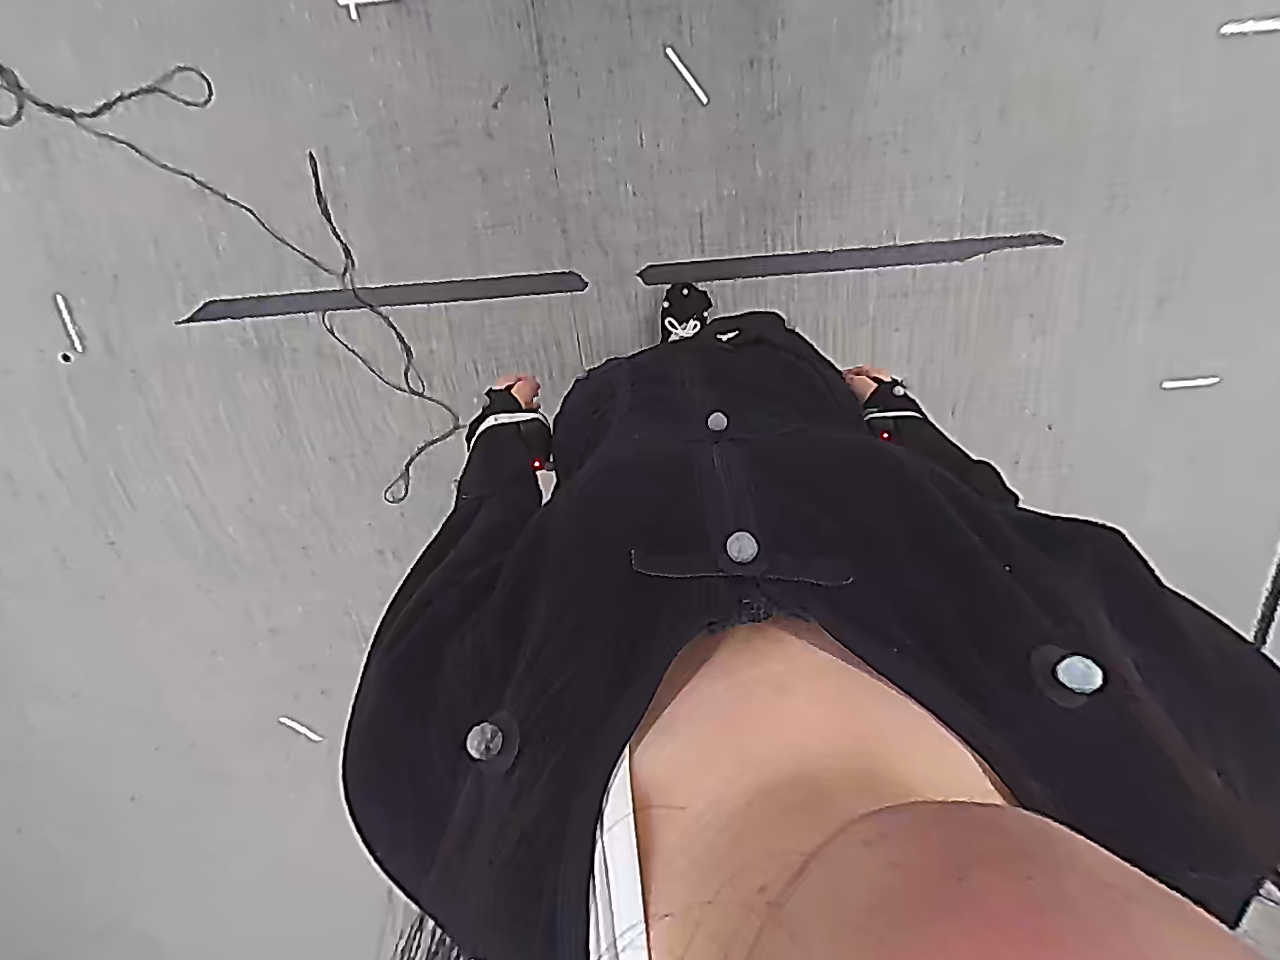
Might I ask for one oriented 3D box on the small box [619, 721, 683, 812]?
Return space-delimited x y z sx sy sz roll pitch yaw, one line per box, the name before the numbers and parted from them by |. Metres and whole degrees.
small box | 0.034 0.903 1.711 0.168 0.176 0.179 -14 108 3
